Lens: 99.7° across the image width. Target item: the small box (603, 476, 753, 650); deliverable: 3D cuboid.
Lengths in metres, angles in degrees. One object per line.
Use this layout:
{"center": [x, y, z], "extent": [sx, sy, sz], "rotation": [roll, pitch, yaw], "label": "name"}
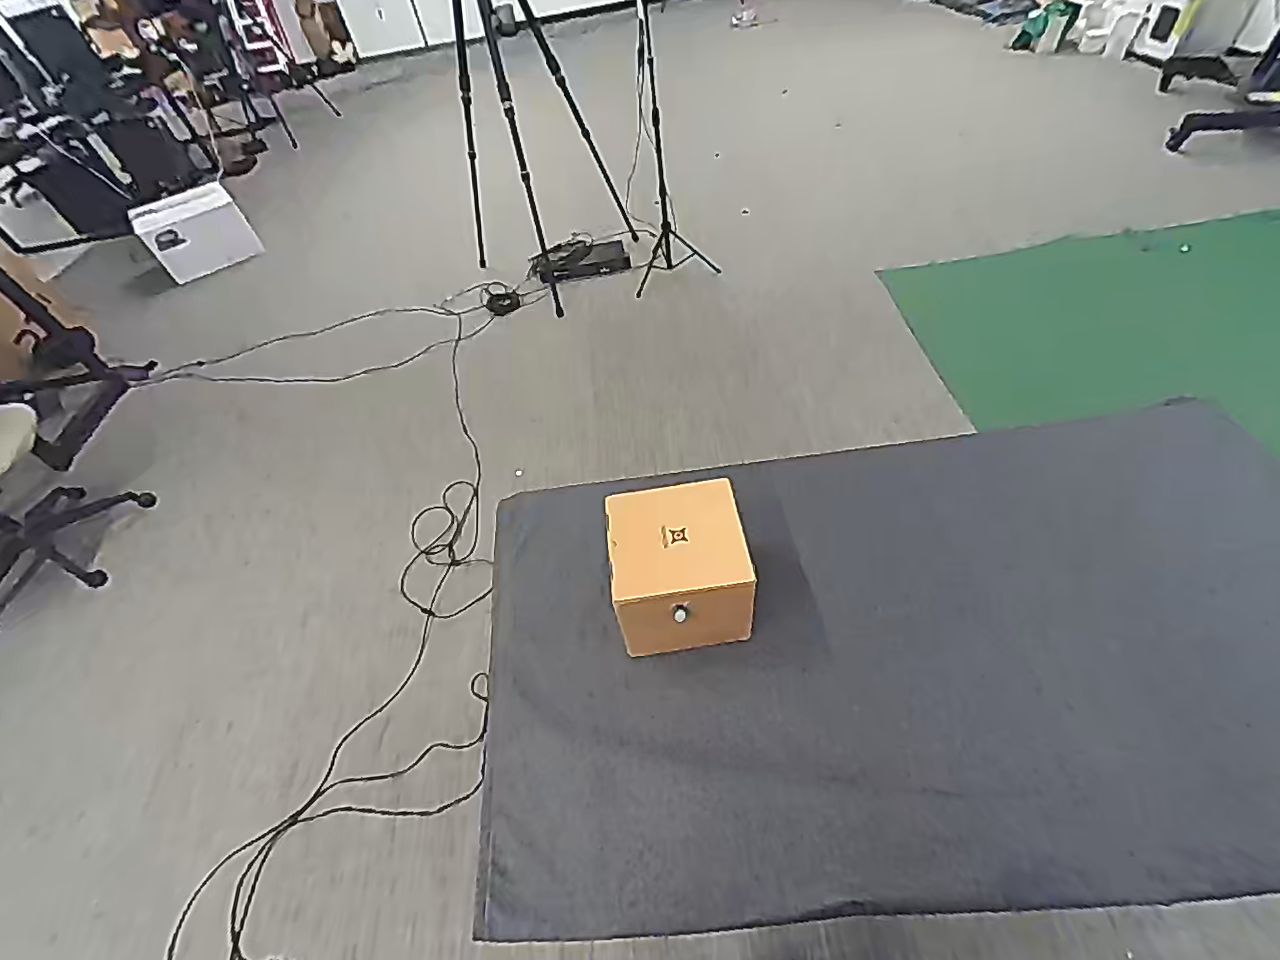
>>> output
{"center": [0.051, 0.120, 0.754], "extent": [0.179, 0.176, 0.168], "rotation": [-10, 50, 2], "label": "small box"}
